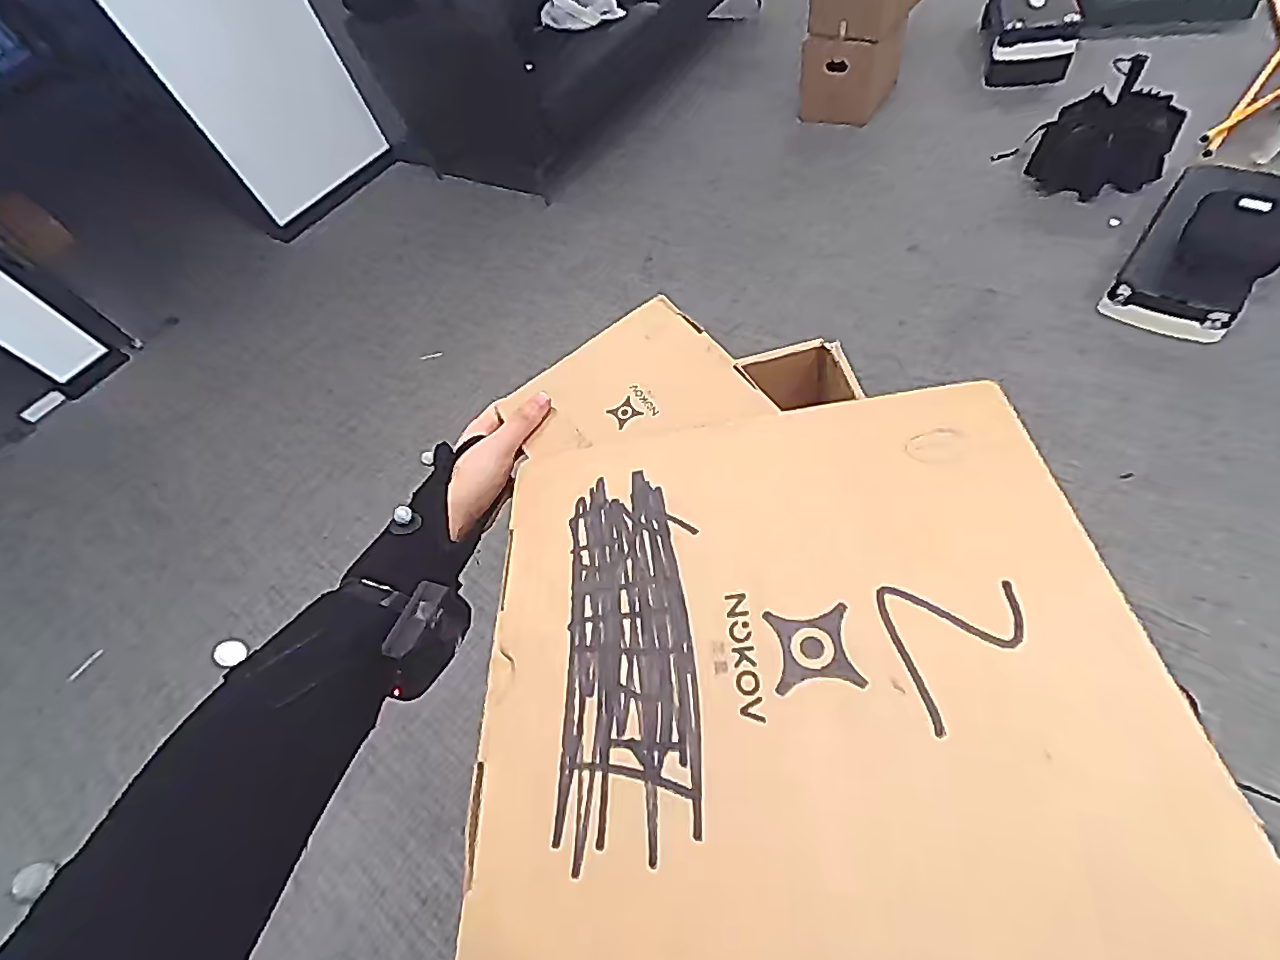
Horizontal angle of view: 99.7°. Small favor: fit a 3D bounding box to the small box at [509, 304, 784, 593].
[{"bbox_3d":[0.014,-0.019,0.509,0.179,0.176,0.168,-35,60,-3],"label":"small box"}]
